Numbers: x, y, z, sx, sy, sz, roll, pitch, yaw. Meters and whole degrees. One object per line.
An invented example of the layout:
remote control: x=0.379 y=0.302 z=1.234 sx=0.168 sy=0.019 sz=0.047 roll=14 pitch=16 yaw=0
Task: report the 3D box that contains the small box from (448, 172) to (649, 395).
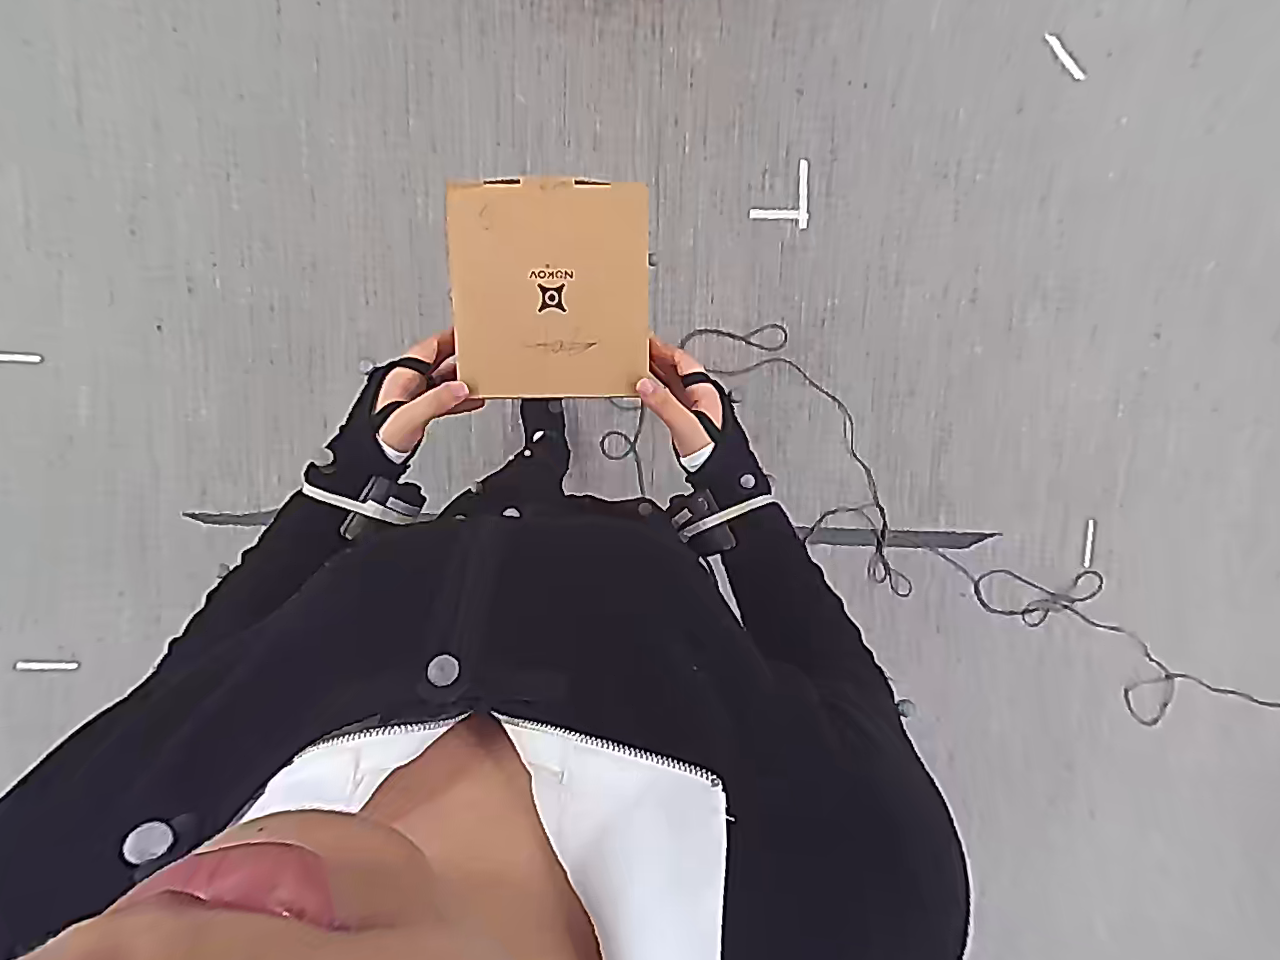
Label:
small box: x=-0.081 y=-0.174 z=0.530 sx=0.168 sy=0.176 sz=0.179 roll=0 pitch=100 yaw=-4
